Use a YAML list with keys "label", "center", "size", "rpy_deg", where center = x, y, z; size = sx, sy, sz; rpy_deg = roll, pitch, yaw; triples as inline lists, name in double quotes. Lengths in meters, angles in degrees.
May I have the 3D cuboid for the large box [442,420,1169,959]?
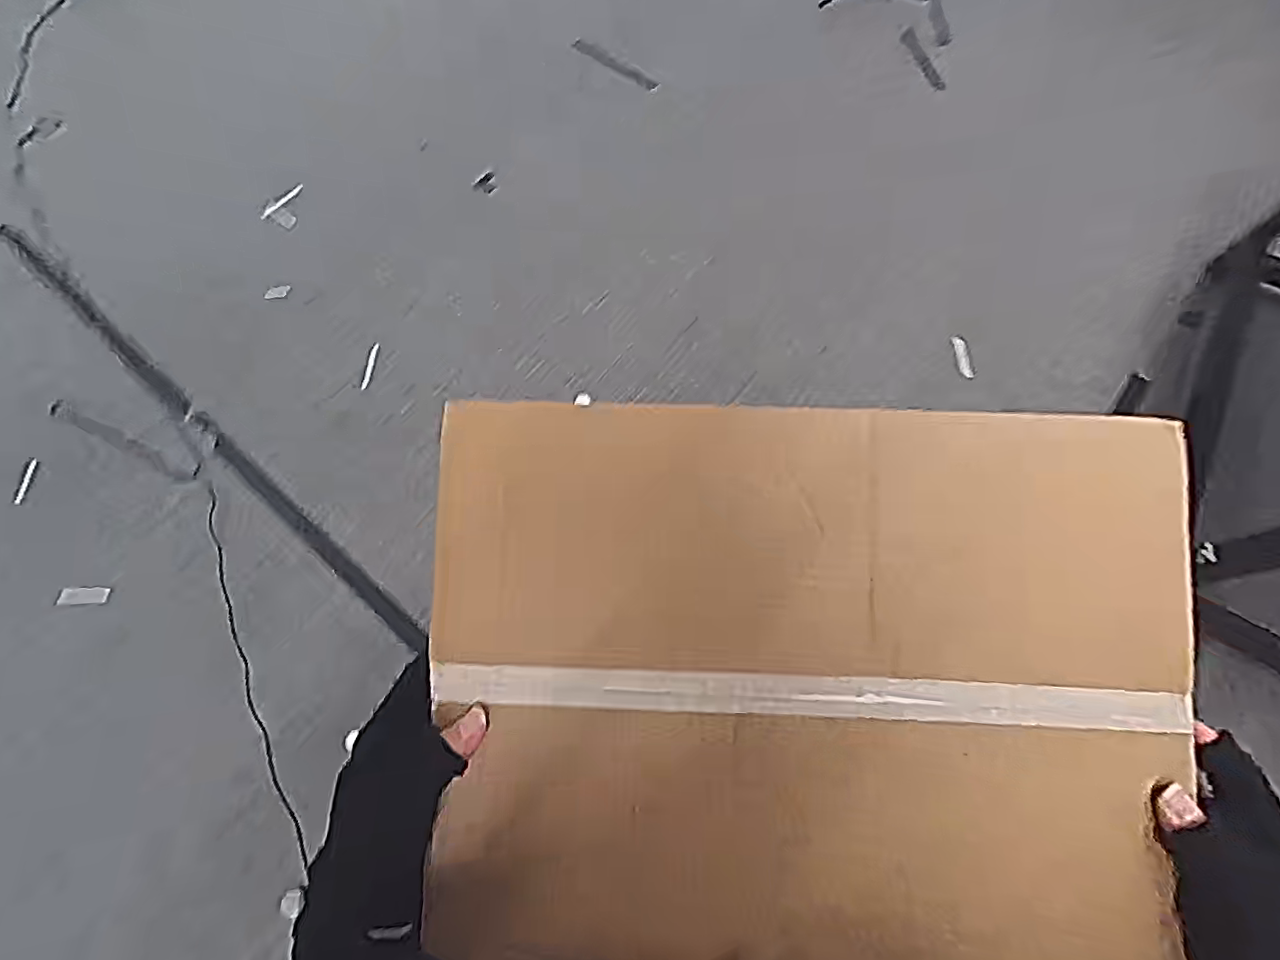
- label: "large box"
  center: [0.090, 0.129, 0.453]
  size: [0.408, 0.320, 0.320]
  rpy_deg: [1, 88, 2]
